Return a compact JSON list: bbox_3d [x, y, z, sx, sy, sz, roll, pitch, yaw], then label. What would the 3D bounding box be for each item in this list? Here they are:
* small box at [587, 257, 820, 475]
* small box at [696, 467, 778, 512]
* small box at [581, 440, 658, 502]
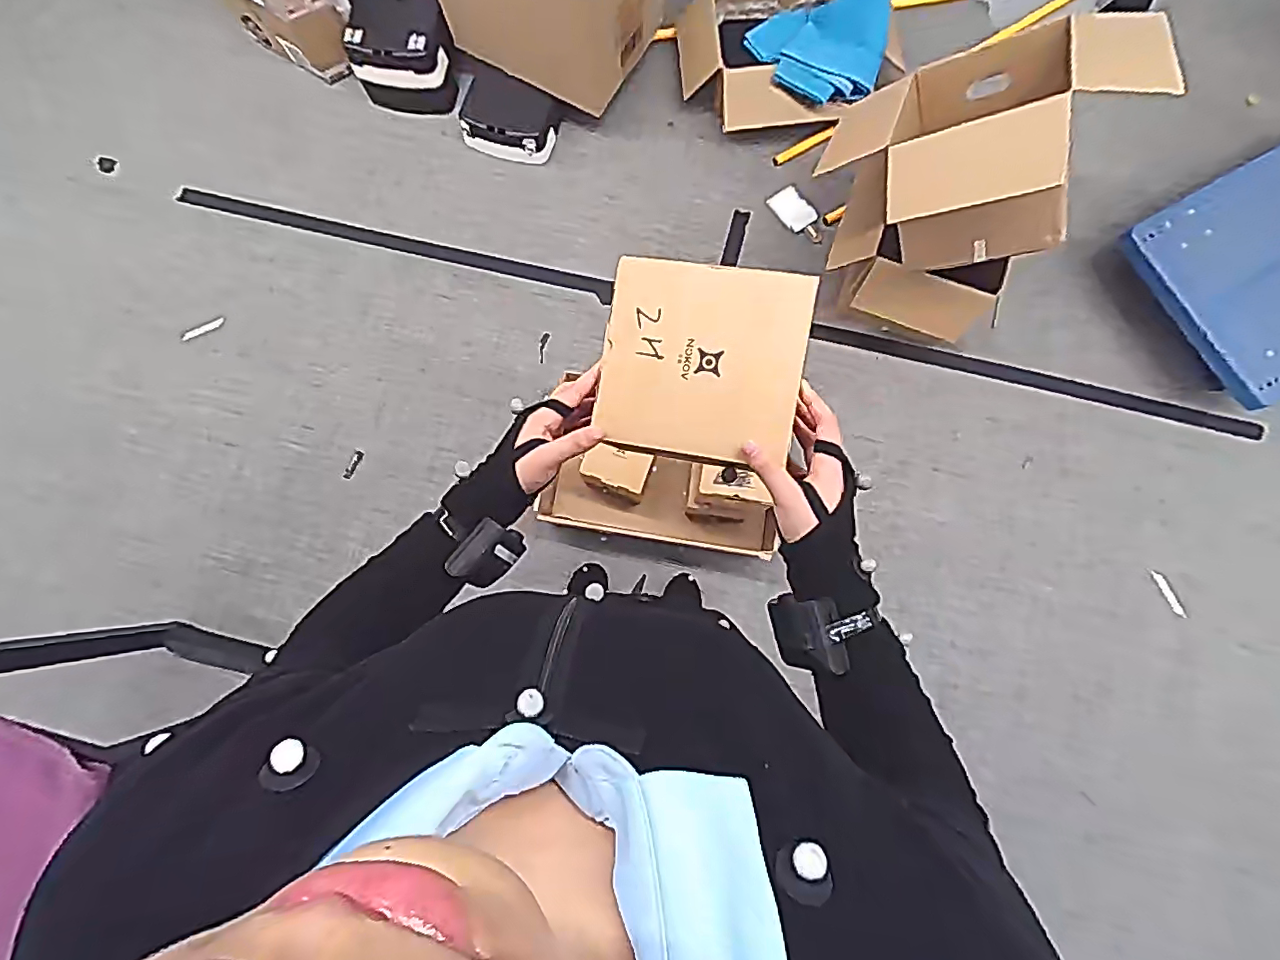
[{"bbox_3d":[0.064,-0.100,0.541,0.179,0.176,0.168,10,90,10],"label":"small box"},{"bbox_3d":[0.226,-0.028,1.252,0.168,0.176,0.179,10,80,3],"label":"small box"},{"bbox_3d":[-0.044,-0.056,1.431,0.168,0.176,0.179,20,81,3],"label":"small box"}]
